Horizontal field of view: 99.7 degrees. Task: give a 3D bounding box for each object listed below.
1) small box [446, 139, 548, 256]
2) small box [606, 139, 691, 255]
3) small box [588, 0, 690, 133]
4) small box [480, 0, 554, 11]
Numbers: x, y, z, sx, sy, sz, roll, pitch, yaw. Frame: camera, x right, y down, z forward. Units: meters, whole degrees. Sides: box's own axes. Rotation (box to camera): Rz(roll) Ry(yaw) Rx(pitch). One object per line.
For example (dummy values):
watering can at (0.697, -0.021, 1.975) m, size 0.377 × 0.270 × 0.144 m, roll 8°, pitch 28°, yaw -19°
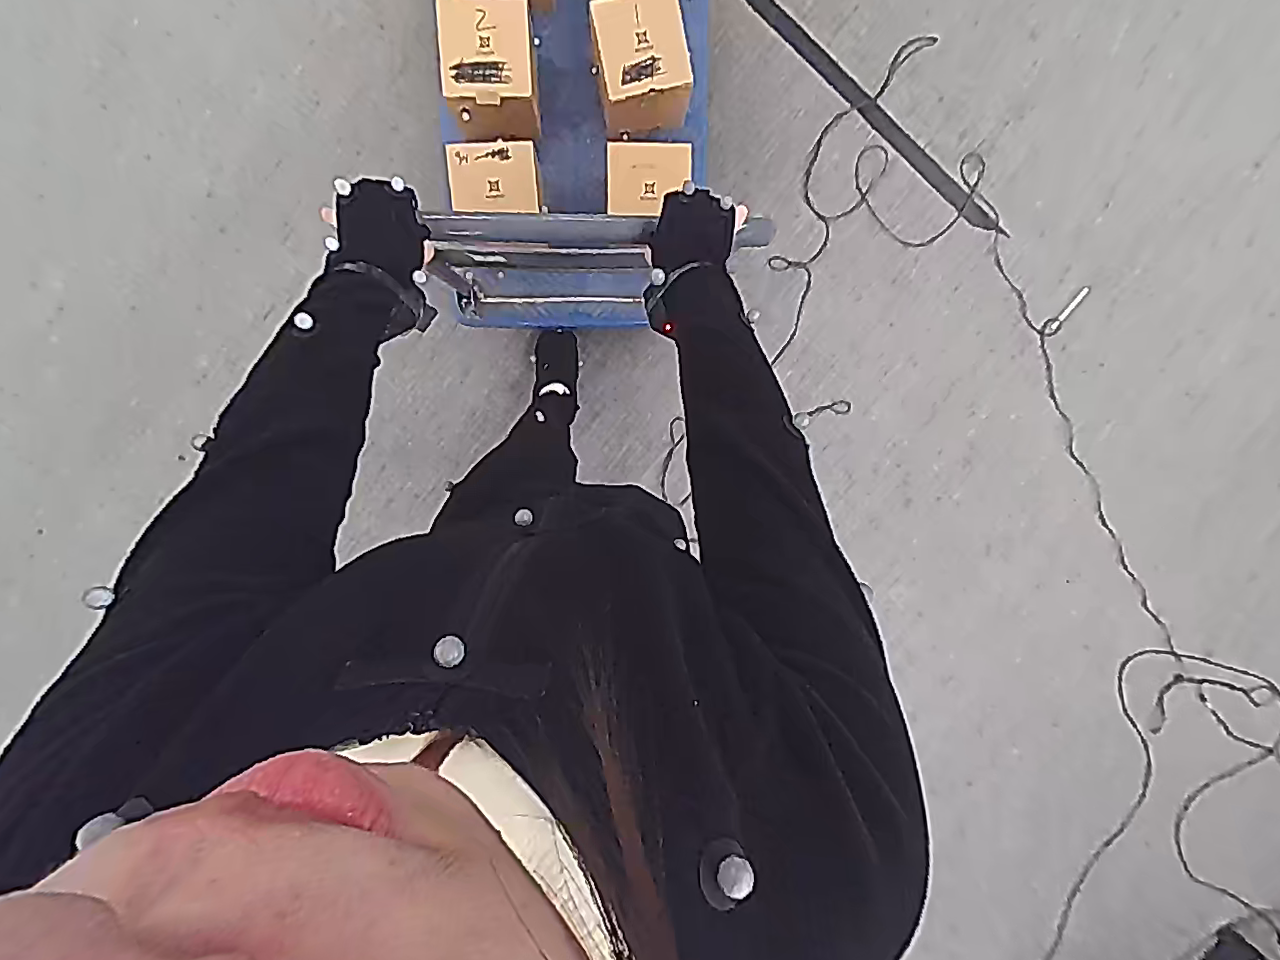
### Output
small box at (-0.285, -0.569, 1.110) m, size 0.168 × 0.176 × 0.179 m, roll -5°, pitch 99°, yaw -4°
small box at (0.013, -0.580, 1.131) m, size 0.168 × 0.176 × 0.179 m, roll -1°, pitch 98°, yaw -4°
small box at (-0.003, -0.835, 1.091) m, size 0.168 × 0.176 × 0.179 m, roll -13°, pitch 98°, yaw -2°
small box at (-0.254, -1.062, 1.038) m, size 0.168 × 0.176 × 0.179 m, roll 1°, pitch 99°, yaw -4°
